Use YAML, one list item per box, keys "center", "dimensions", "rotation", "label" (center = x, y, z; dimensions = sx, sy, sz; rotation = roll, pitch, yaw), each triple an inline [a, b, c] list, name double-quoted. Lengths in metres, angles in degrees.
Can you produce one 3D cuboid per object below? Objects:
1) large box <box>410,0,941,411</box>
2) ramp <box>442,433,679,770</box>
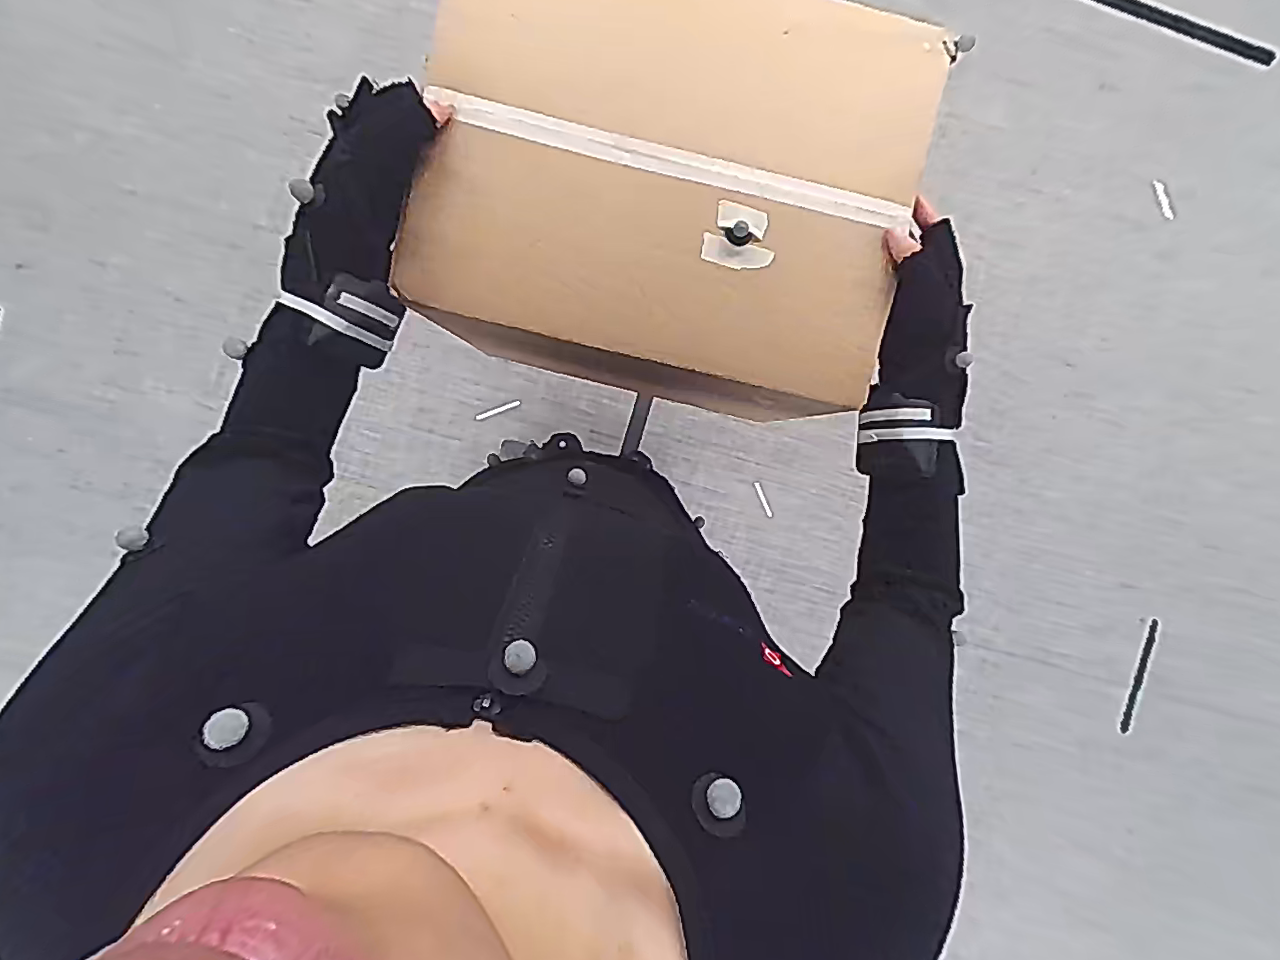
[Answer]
- center: [0.023, -0.275, 0.601]
  dimensions: [0.408, 0.320, 0.320]
  rotation: [13, 94, -3]
  label: "large box"
- center: [-0.252, 0.395, 1.593]
  dimensions: [0.509, 0.206, 0.991]
  rotation: [14, 93, -5]
  label: "ramp"
